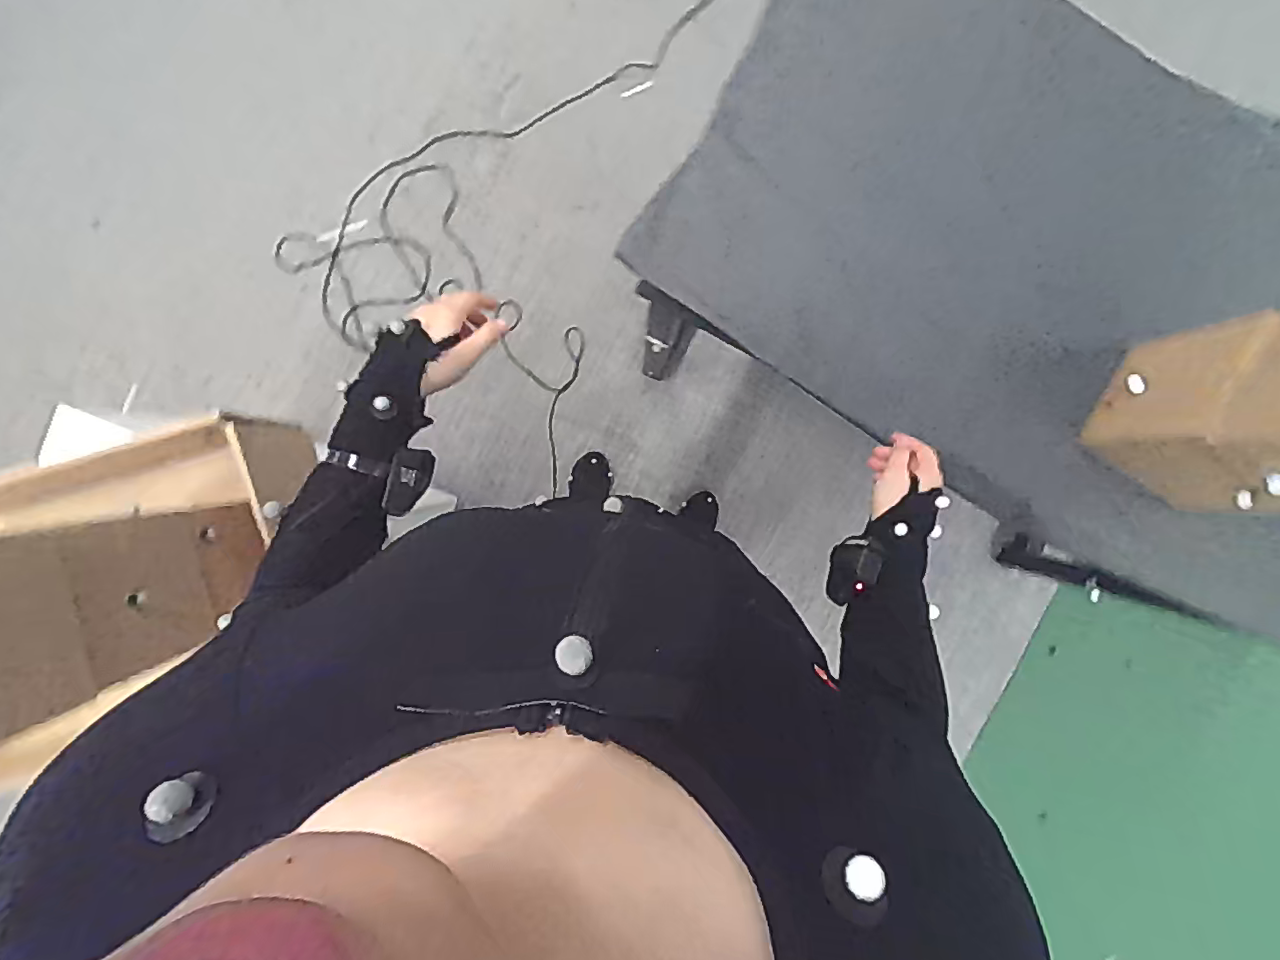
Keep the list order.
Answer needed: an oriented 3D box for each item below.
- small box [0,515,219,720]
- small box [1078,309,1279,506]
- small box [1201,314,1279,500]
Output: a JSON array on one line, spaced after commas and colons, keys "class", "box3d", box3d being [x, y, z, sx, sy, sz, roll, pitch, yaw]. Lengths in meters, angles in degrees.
[{"class": "small box", "box3d": [-0.629, 0.142, 0.603, 0.168, 0.176, 0.179, -15, 94, 1]}, {"class": "small box", "box3d": [0.733, -0.084, 0.690, 0.179, 0.176, 0.168, 31, 90, -1]}, {"class": "small box", "box3d": [0.731, -0.076, 0.528, 0.168, 0.176, 0.179, 33, 91, 0]}]
